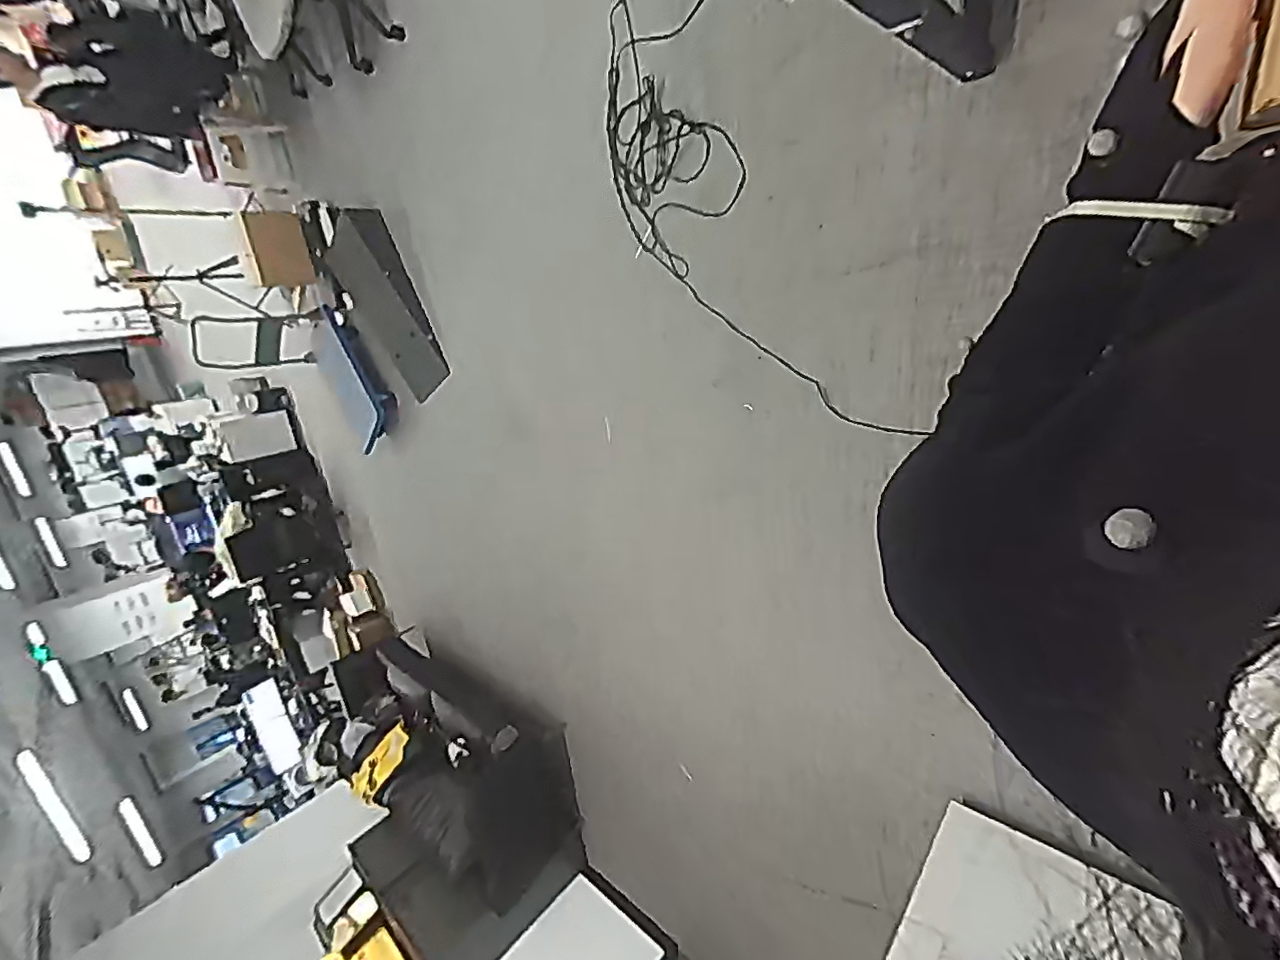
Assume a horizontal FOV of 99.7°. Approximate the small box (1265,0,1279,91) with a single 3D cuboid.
[{"bbox_3d":[0.392,-0.284,0.213,0.168,0.176,0.179,9,116,42],"label":"small box"}]
